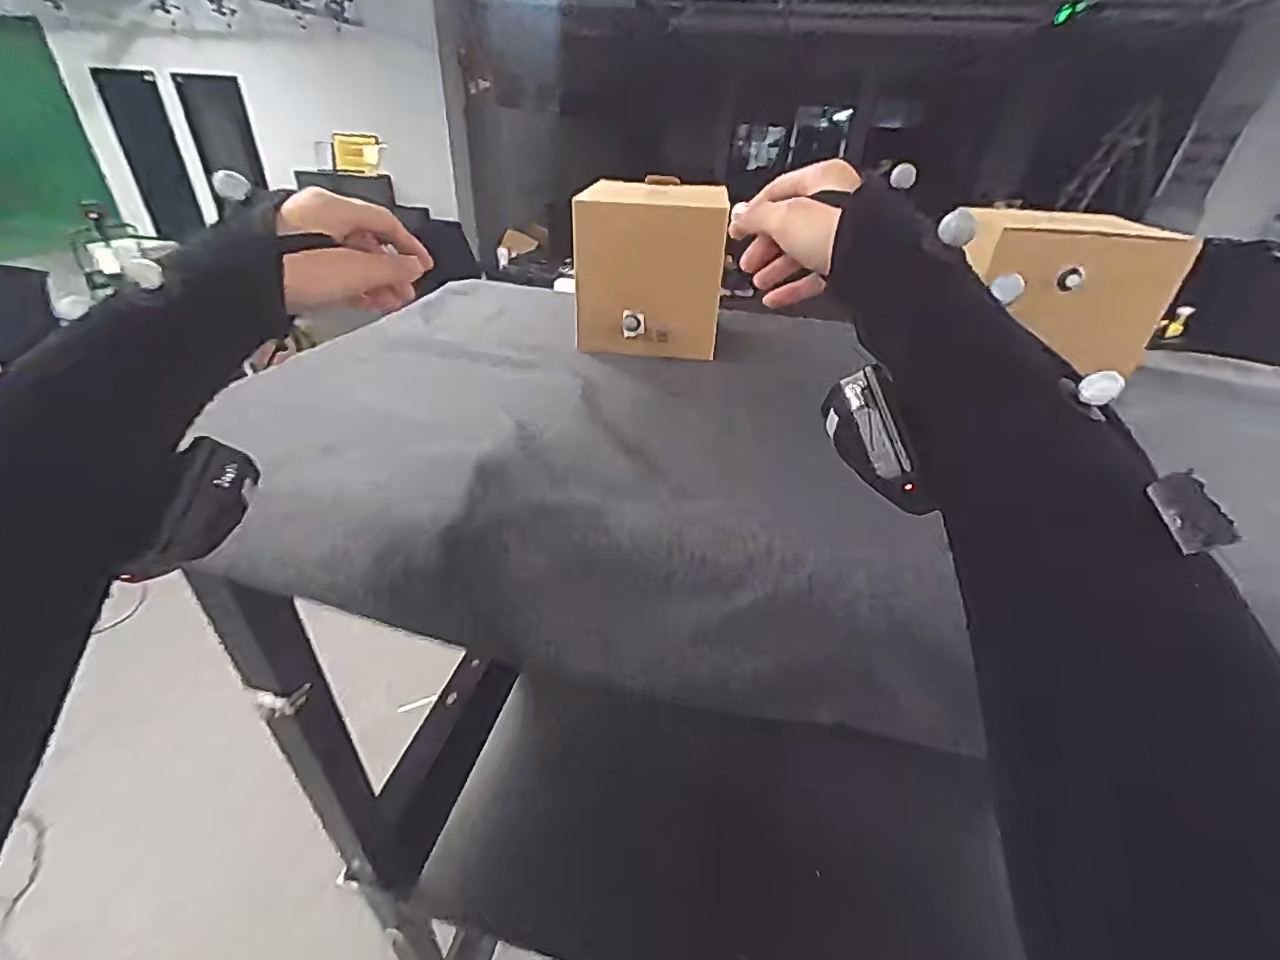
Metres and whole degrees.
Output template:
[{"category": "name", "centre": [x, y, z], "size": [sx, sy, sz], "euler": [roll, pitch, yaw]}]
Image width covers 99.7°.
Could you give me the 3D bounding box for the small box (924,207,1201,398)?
[{"category": "small box", "centre": [0.445, -0.205, 0.615], "size": [0.179, 0.176, 0.168], "euler": [9, 34, 10]}]

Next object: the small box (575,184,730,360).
[{"category": "small box", "centre": [0.019, -0.261, 0.668], "size": [0.168, 0.176, 0.179], "euler": [5, 33, 5]}]
